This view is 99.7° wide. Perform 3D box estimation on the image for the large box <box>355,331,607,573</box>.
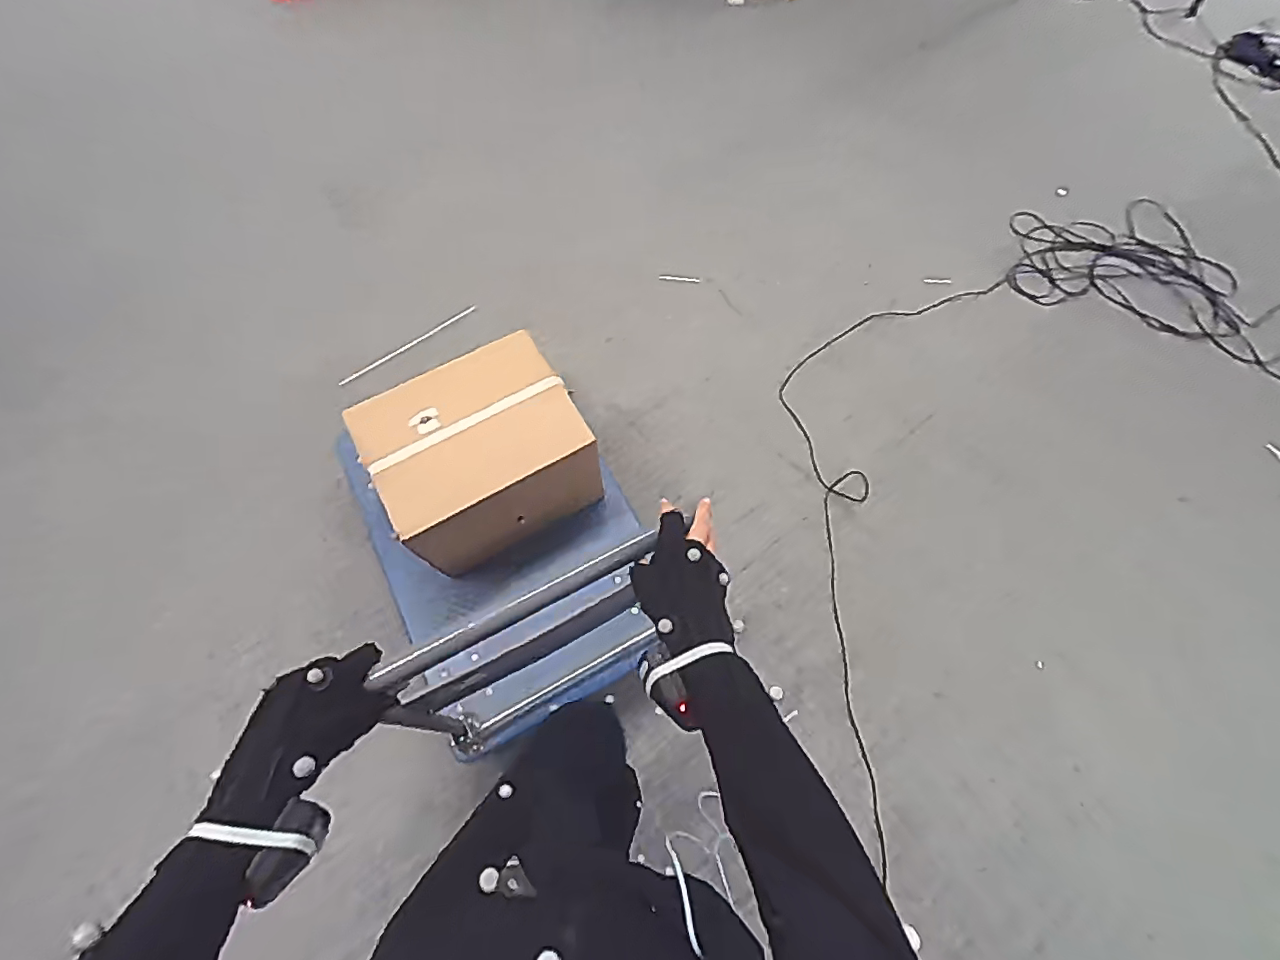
[{"bbox_3d":[-0.322,-0.050,1.204,0.408,0.320,0.320,-30,70,-12],"label":"large box"}]
